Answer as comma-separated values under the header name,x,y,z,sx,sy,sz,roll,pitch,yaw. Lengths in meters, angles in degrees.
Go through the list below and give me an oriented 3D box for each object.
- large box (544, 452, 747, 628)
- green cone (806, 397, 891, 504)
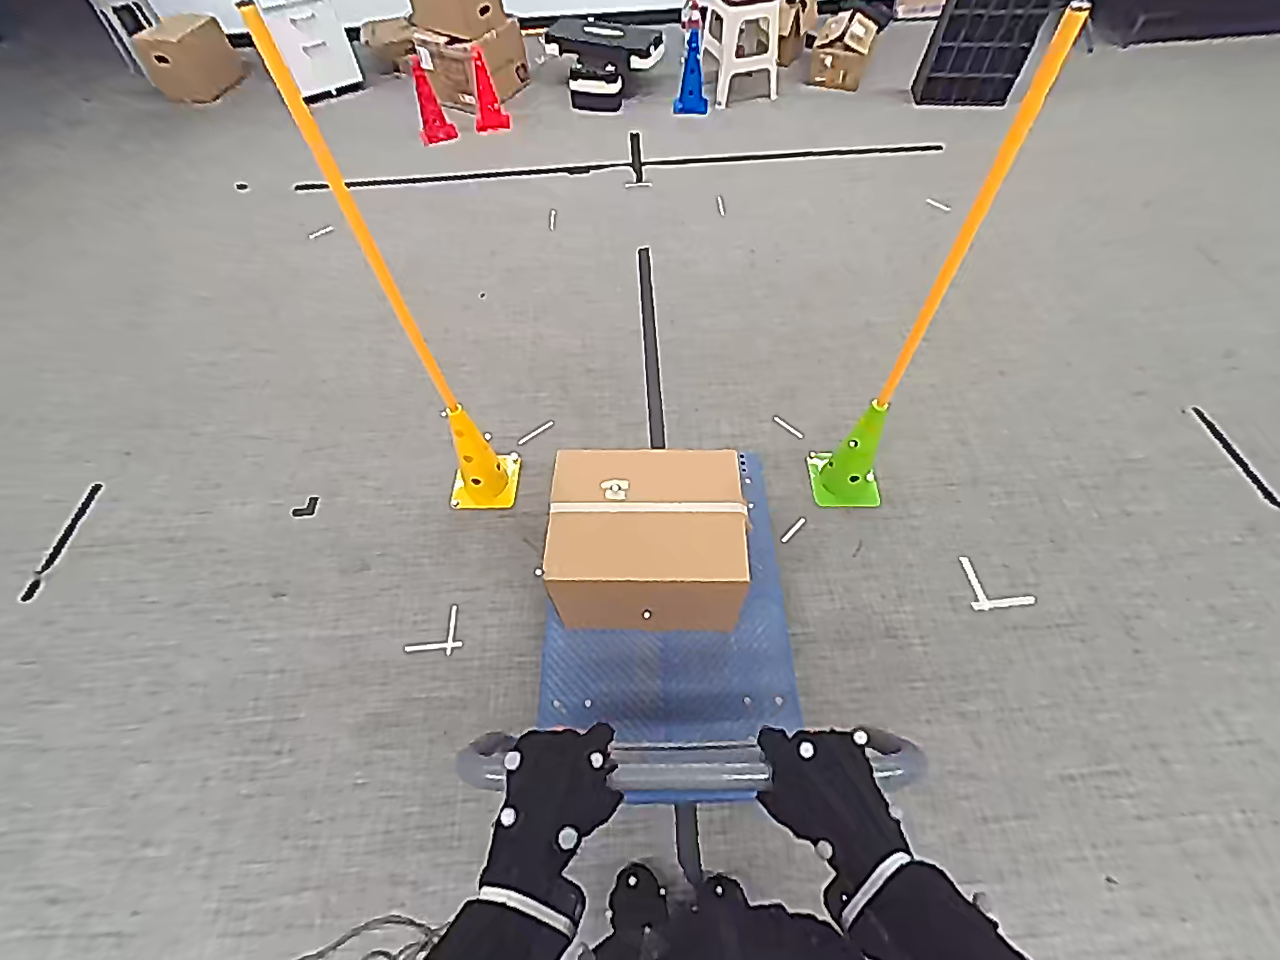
name,x,y,z,sx,sy,sz,roll,pitch,yaw
large box,0.018,0.150,1.252,0.408,0.320,0.320,0,57,3
green cone,0.637,-0.103,1.569,0.202,0.368,0.200,0,57,1
